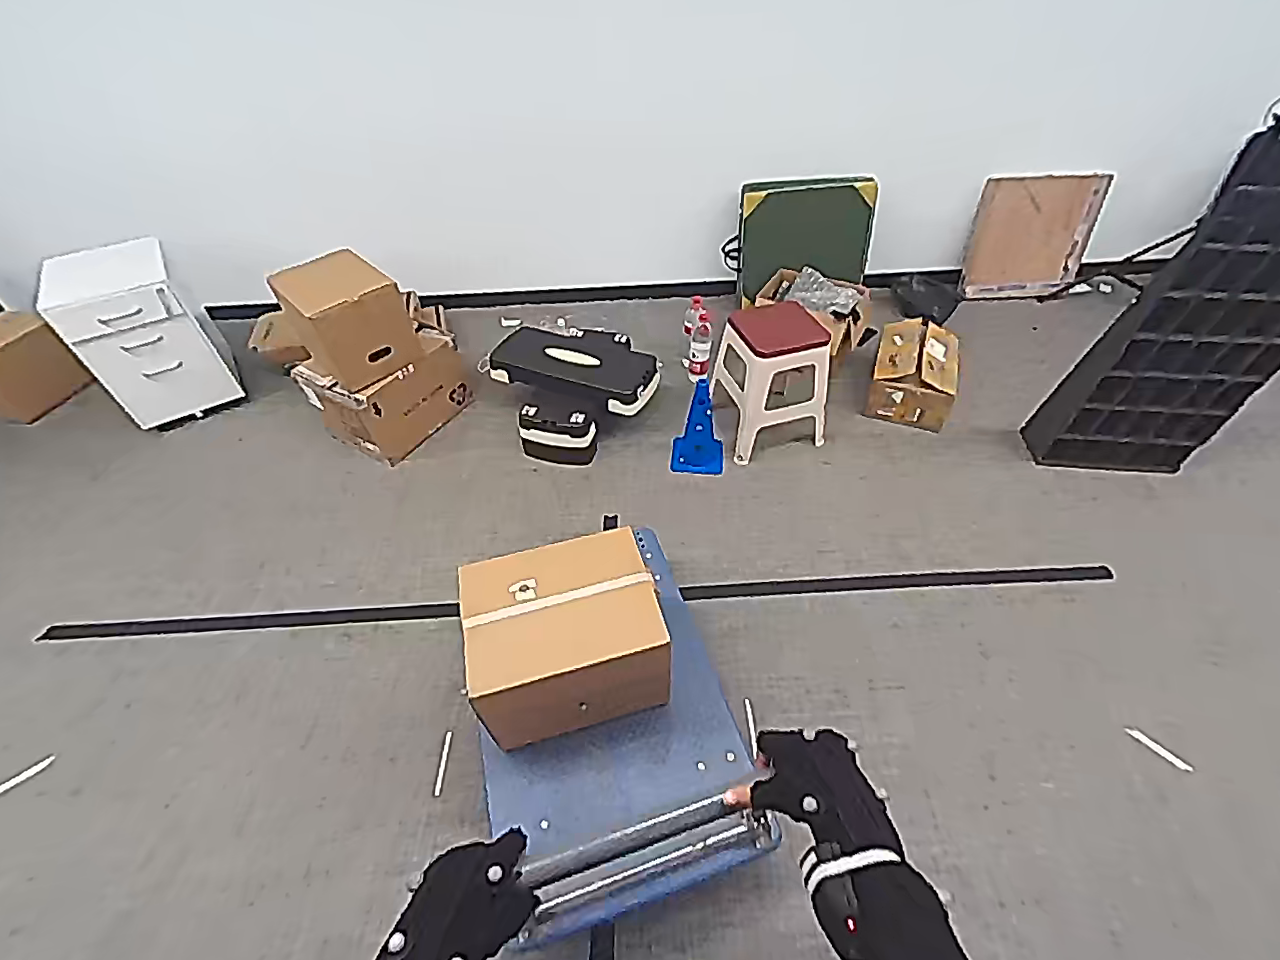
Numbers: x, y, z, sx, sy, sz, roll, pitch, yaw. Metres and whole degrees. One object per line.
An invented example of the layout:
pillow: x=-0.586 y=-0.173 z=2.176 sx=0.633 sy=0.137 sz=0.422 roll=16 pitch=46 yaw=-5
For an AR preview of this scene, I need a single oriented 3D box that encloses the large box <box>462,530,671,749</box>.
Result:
large box: x=-0.163 y=0.370 z=1.261 sx=0.408 sy=0.320 sz=0.320 roll=-13 pitch=47 yaw=-9
